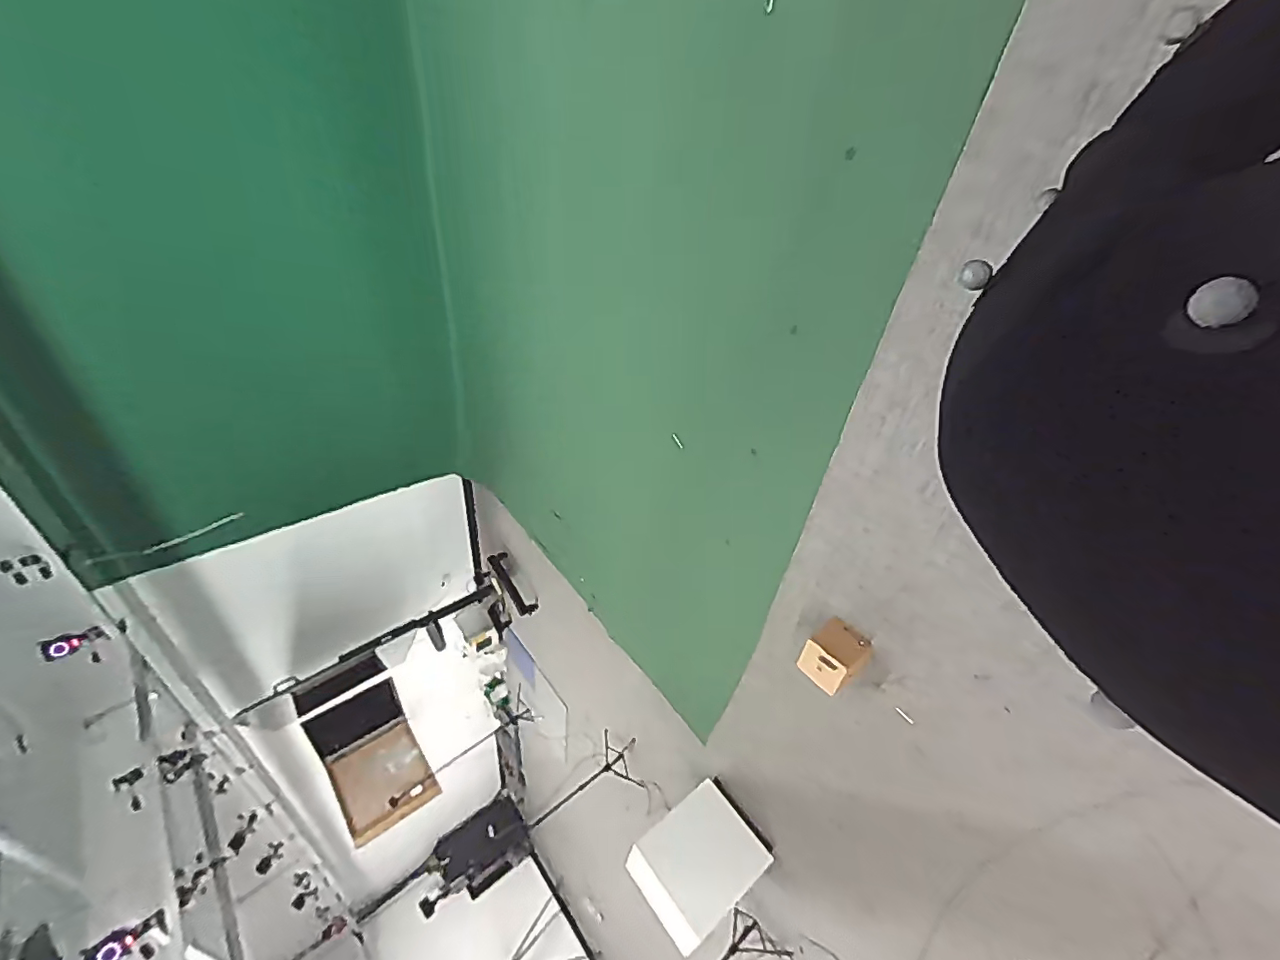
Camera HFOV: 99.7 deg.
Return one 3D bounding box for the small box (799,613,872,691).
[{"bbox_3d":[0.720,0.625,1.985,0.168,0.176,0.179,40,139,36],"label":"small box"}]
